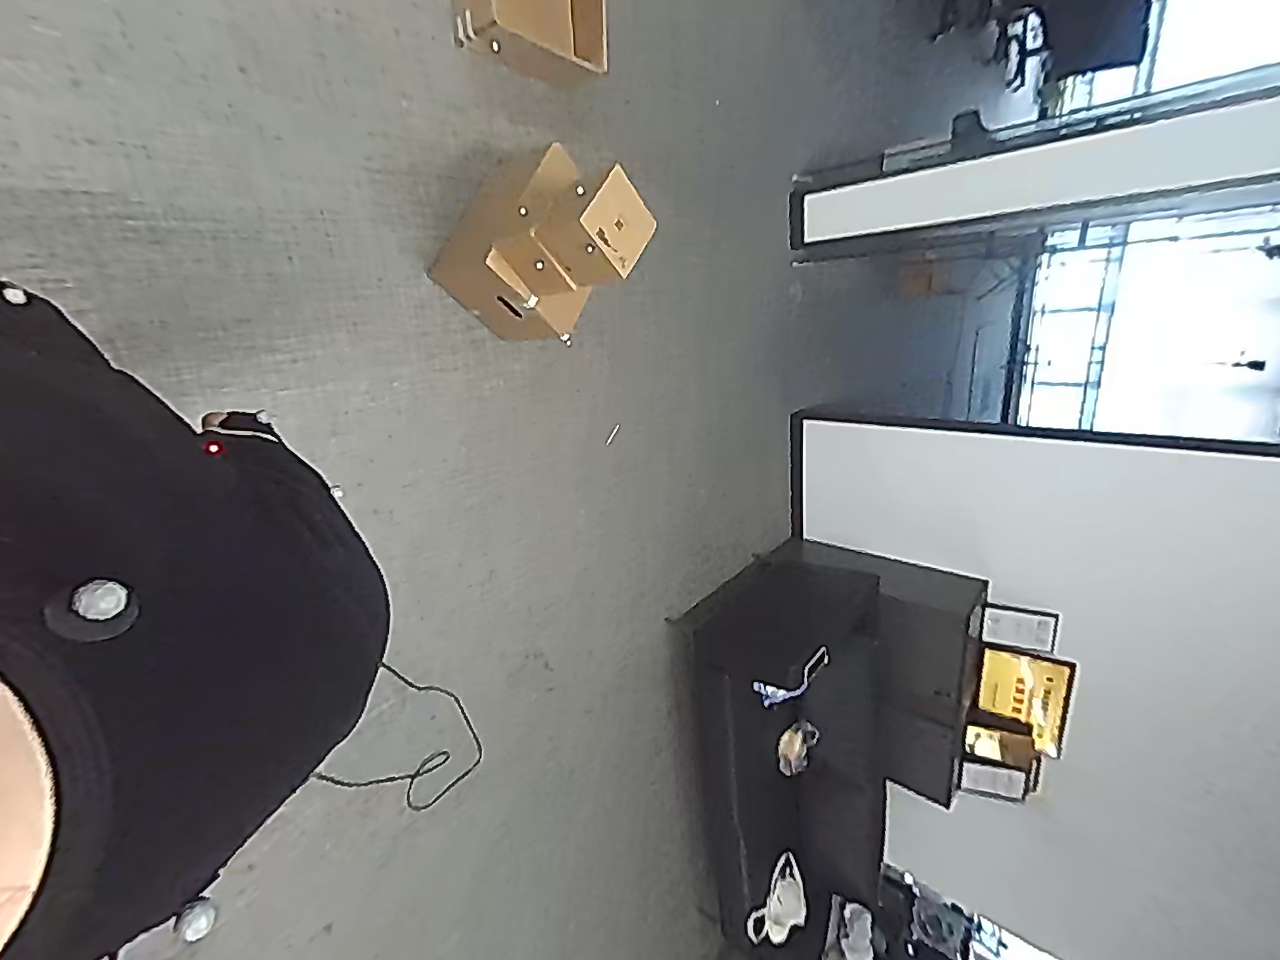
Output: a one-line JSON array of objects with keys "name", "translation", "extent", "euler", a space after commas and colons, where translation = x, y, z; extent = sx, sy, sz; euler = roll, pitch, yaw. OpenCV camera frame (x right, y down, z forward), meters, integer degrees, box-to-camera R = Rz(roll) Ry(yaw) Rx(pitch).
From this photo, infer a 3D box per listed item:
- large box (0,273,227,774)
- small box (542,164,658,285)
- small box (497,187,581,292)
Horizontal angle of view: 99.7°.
[{"name": "large box", "translation": [-0.668, 0.077, 0.468], "extent": [0.408, 0.320, 0.320], "euler": [-25, 135, -14]}, {"name": "small box", "translation": [-0.095, -0.577, 1.240], "extent": [0.168, 0.176, 0.179], "euler": [42, 68, -40]}, {"name": "small box", "translation": [-0.217, -0.589, 1.350], "extent": [0.179, 0.176, 0.168], "euler": [47, 65, -39]}]
